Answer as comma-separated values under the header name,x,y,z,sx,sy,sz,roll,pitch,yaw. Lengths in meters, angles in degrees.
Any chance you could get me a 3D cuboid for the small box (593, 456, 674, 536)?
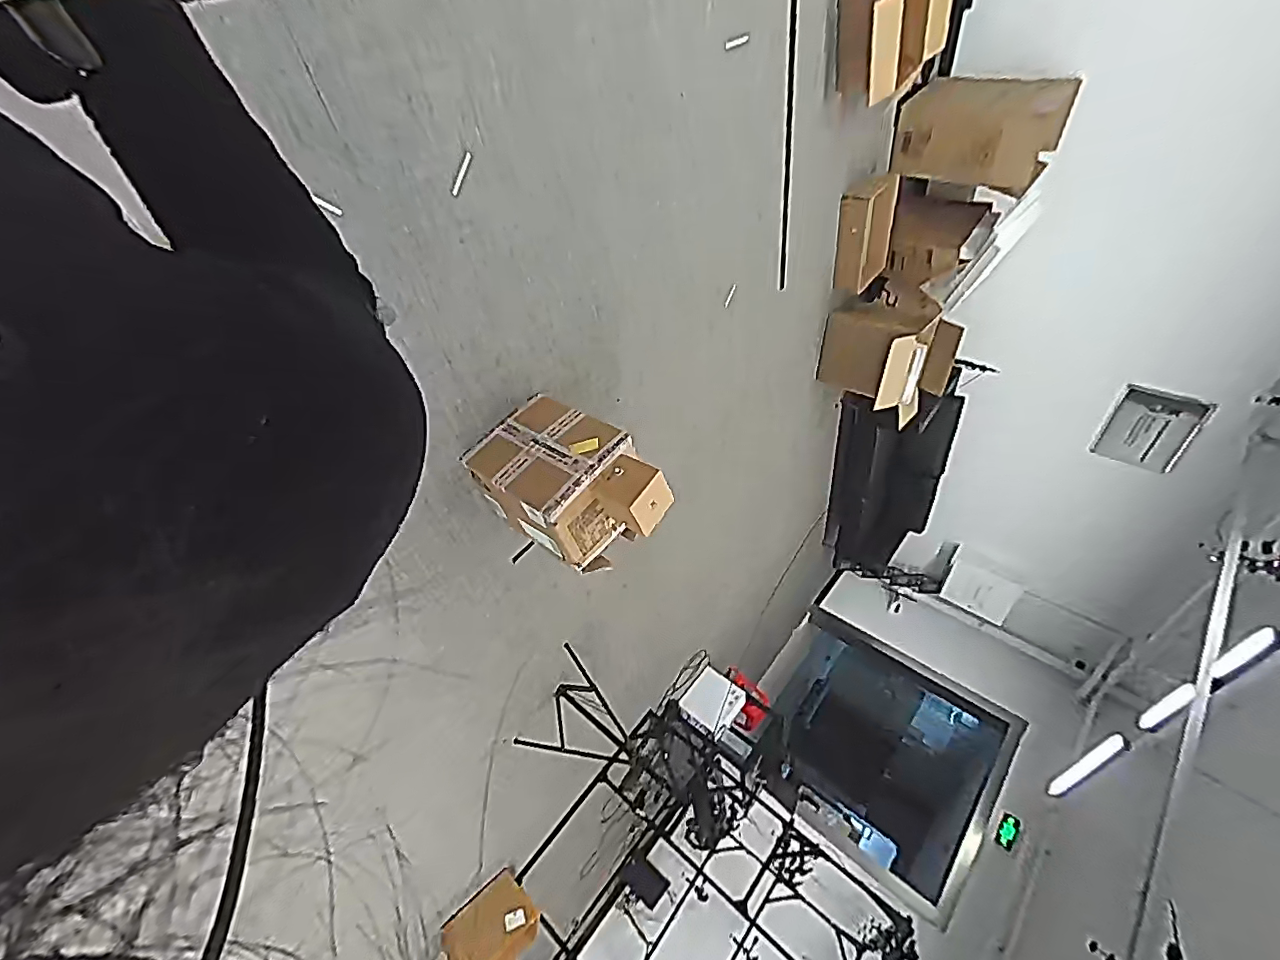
name,x,y,z,sx,sy,sz,roll,pitch,yaw
small box,-0.022,0.047,1.760,0.168,0.176,0.179,-52,141,-19
